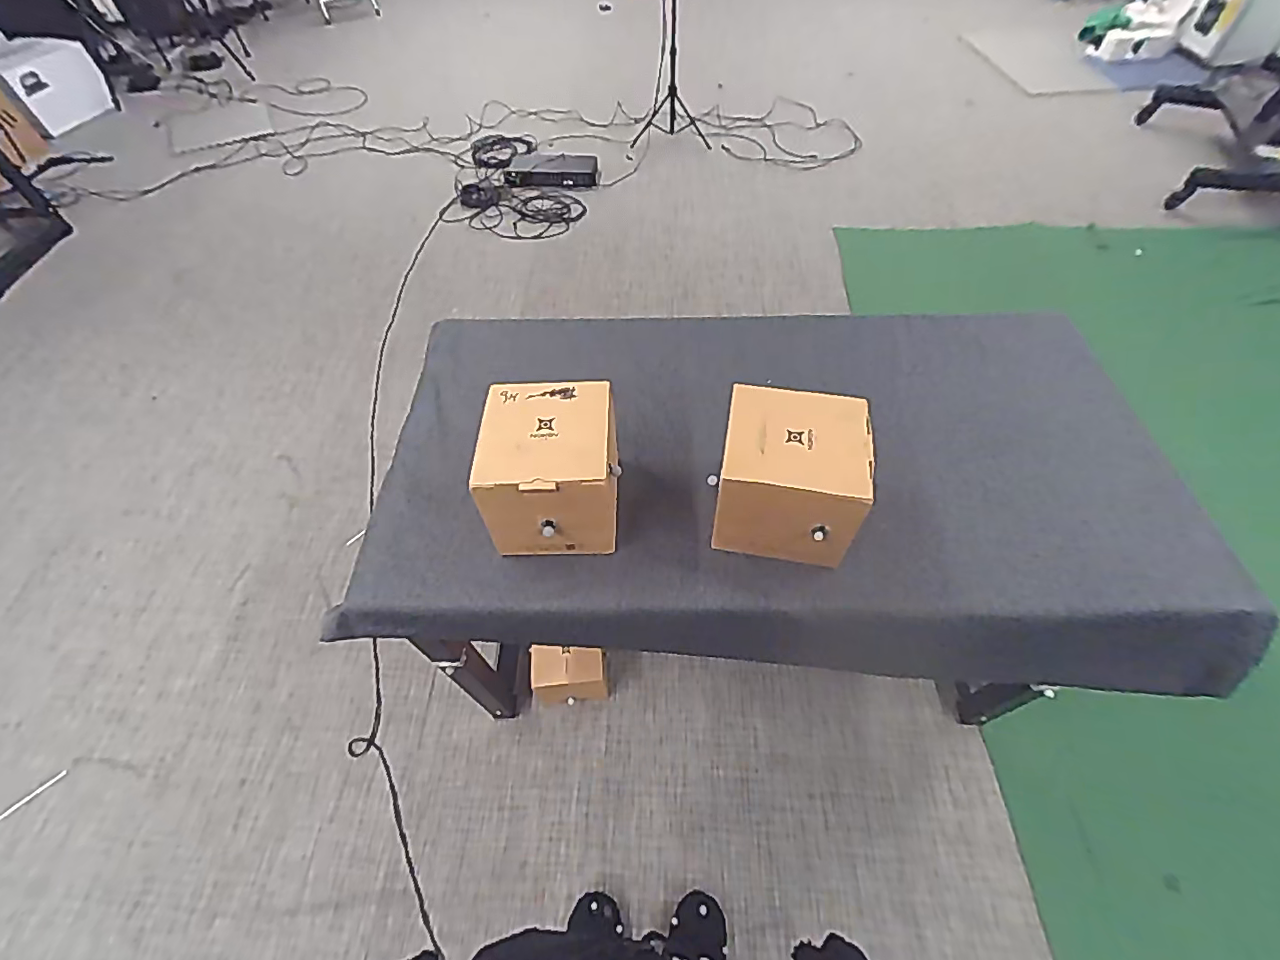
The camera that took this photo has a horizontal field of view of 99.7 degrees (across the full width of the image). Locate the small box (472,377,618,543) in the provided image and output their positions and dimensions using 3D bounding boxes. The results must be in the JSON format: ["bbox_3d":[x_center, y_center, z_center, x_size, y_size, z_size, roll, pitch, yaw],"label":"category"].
[{"bbox_3d":[-0.117,-0.022,0.755,0.168,0.176,0.179,0,54,1],"label":"small box"}]

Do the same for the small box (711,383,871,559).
[{"bbox_3d":[0.198,-0.007,0.740,0.179,0.176,0.168,8,54,8],"label":"small box"}]
